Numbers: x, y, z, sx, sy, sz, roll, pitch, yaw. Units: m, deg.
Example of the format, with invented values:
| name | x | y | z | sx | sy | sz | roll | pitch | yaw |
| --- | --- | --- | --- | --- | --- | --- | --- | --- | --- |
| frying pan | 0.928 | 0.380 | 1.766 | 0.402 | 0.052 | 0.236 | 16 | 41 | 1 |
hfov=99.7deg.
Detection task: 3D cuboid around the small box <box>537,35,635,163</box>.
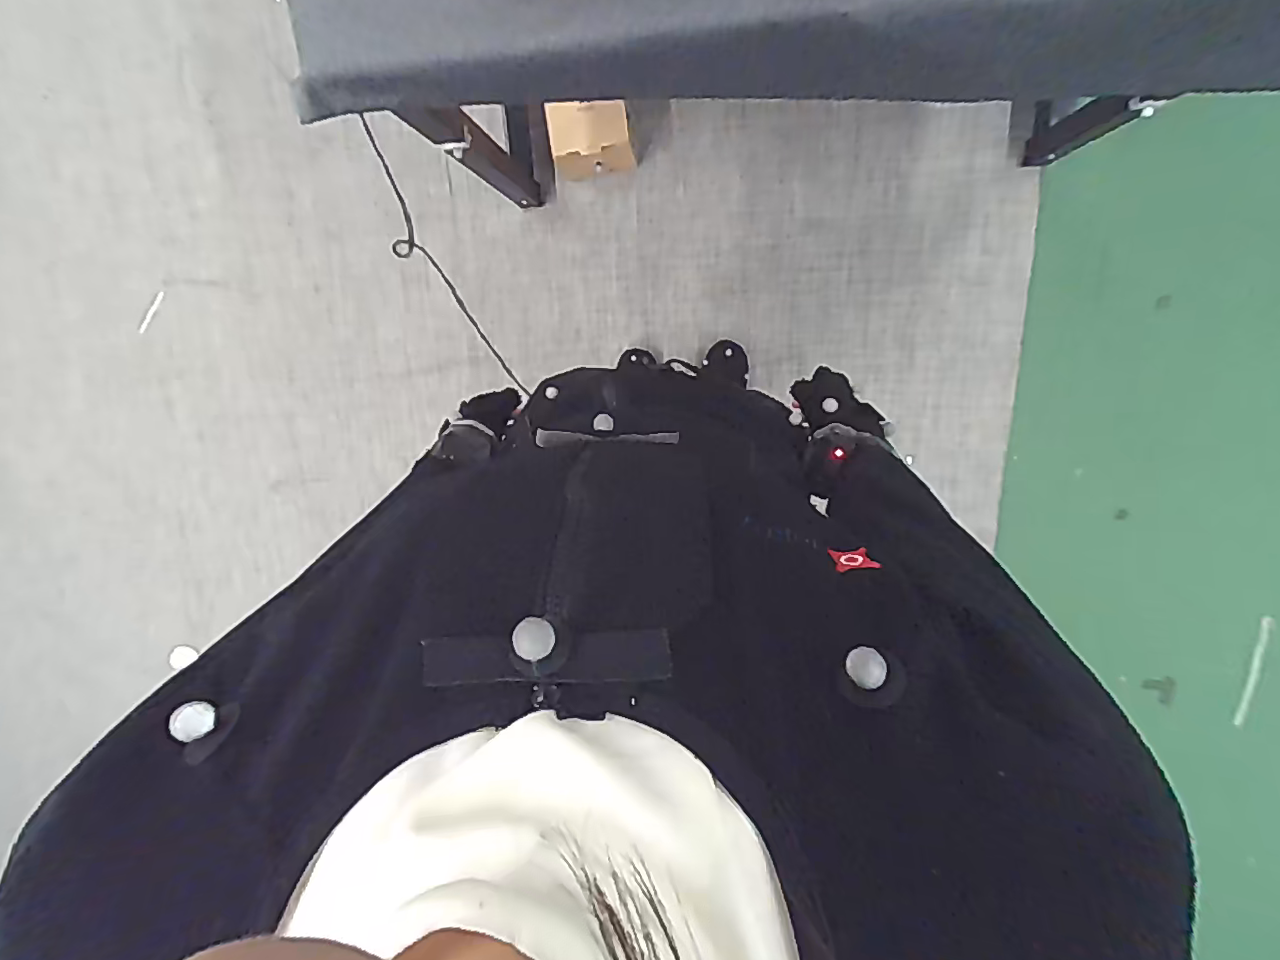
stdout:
| name | x | y | z | sx | sy | sz | roll | pitch | yaw |
| --- | --- | --- | --- | --- | --- | --- | --- | --- | --- |
| small box | -0.107 | -0.804 | 1.165 | 0.168 | 0.176 | 0.179 | -6 | 105 | 7 |
